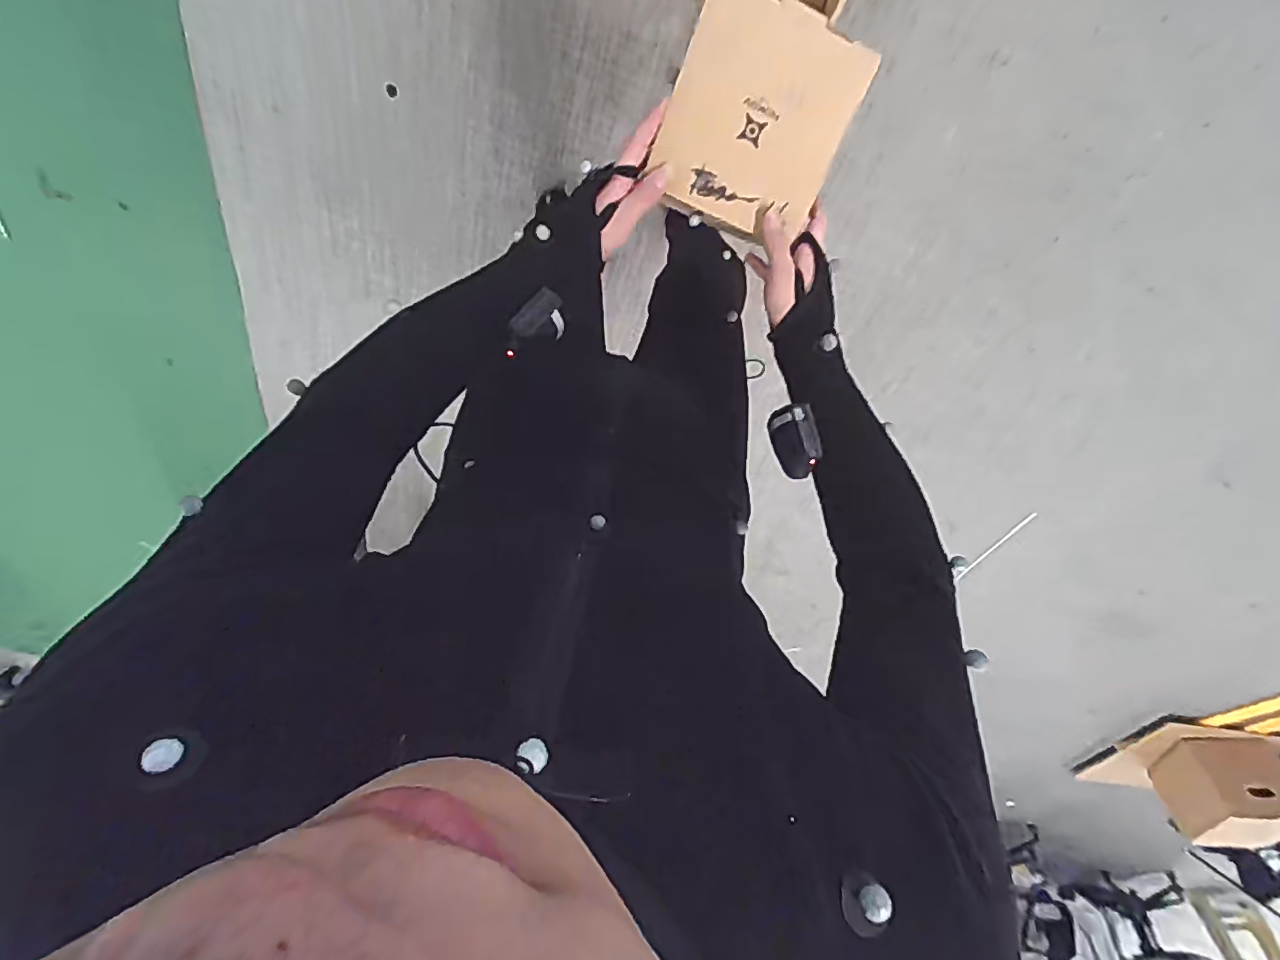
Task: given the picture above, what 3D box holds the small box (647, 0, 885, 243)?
[{"bbox_3d":[0.110,-0.370,0.566,0.168,0.176,0.179,20,113,-9],"label":"small box"}]
